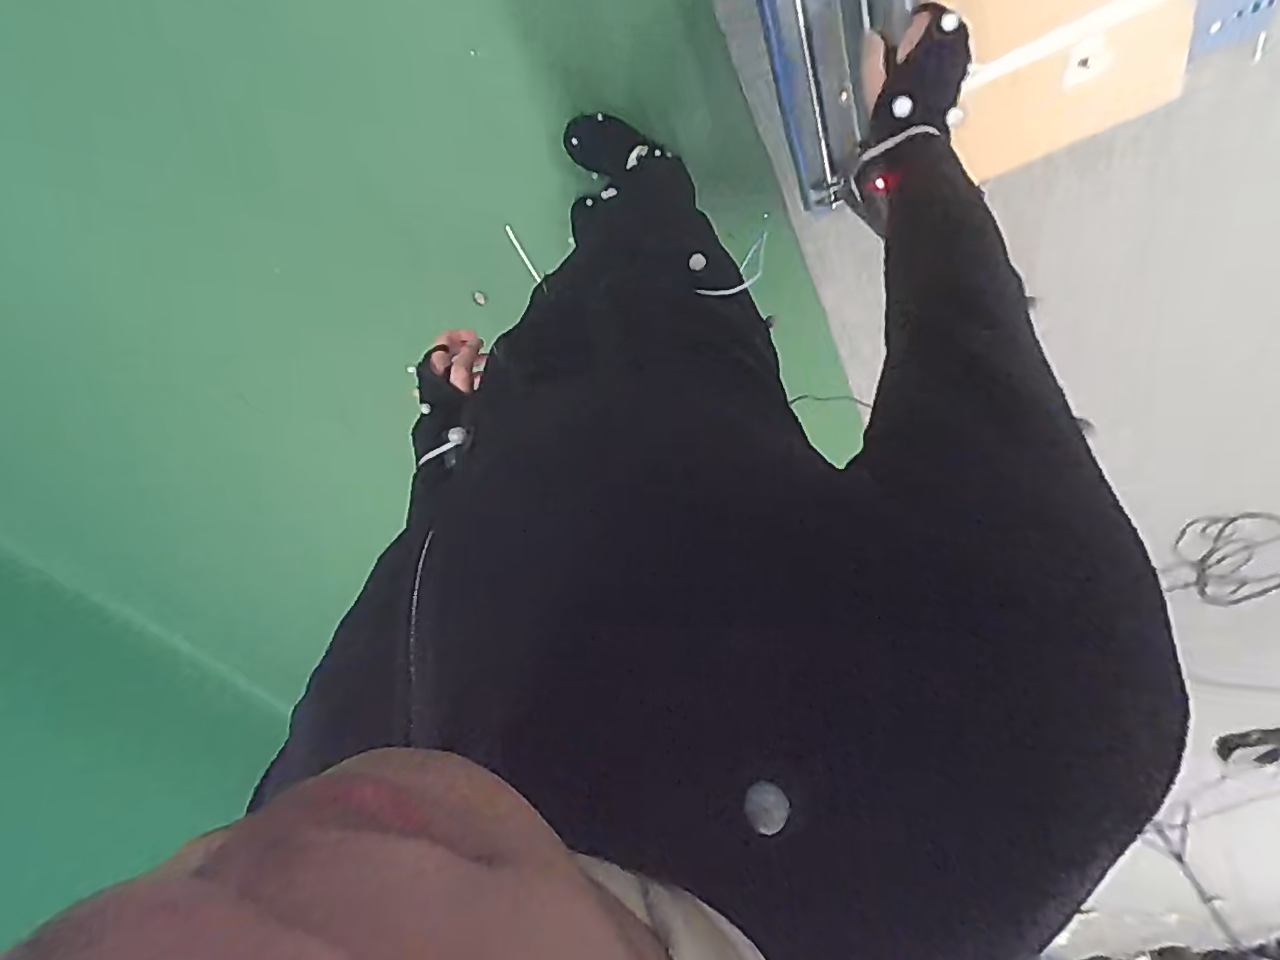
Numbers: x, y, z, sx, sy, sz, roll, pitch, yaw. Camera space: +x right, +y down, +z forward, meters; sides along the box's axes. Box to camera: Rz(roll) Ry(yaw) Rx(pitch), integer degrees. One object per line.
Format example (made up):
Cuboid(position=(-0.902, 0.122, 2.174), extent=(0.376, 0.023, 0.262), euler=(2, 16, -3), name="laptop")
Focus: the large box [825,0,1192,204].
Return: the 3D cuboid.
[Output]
Cuboid(position=(0.580, -0.732, 0.908), extent=(0.408, 0.320, 0.320), euler=(-19, 126, 14), name="large box")
